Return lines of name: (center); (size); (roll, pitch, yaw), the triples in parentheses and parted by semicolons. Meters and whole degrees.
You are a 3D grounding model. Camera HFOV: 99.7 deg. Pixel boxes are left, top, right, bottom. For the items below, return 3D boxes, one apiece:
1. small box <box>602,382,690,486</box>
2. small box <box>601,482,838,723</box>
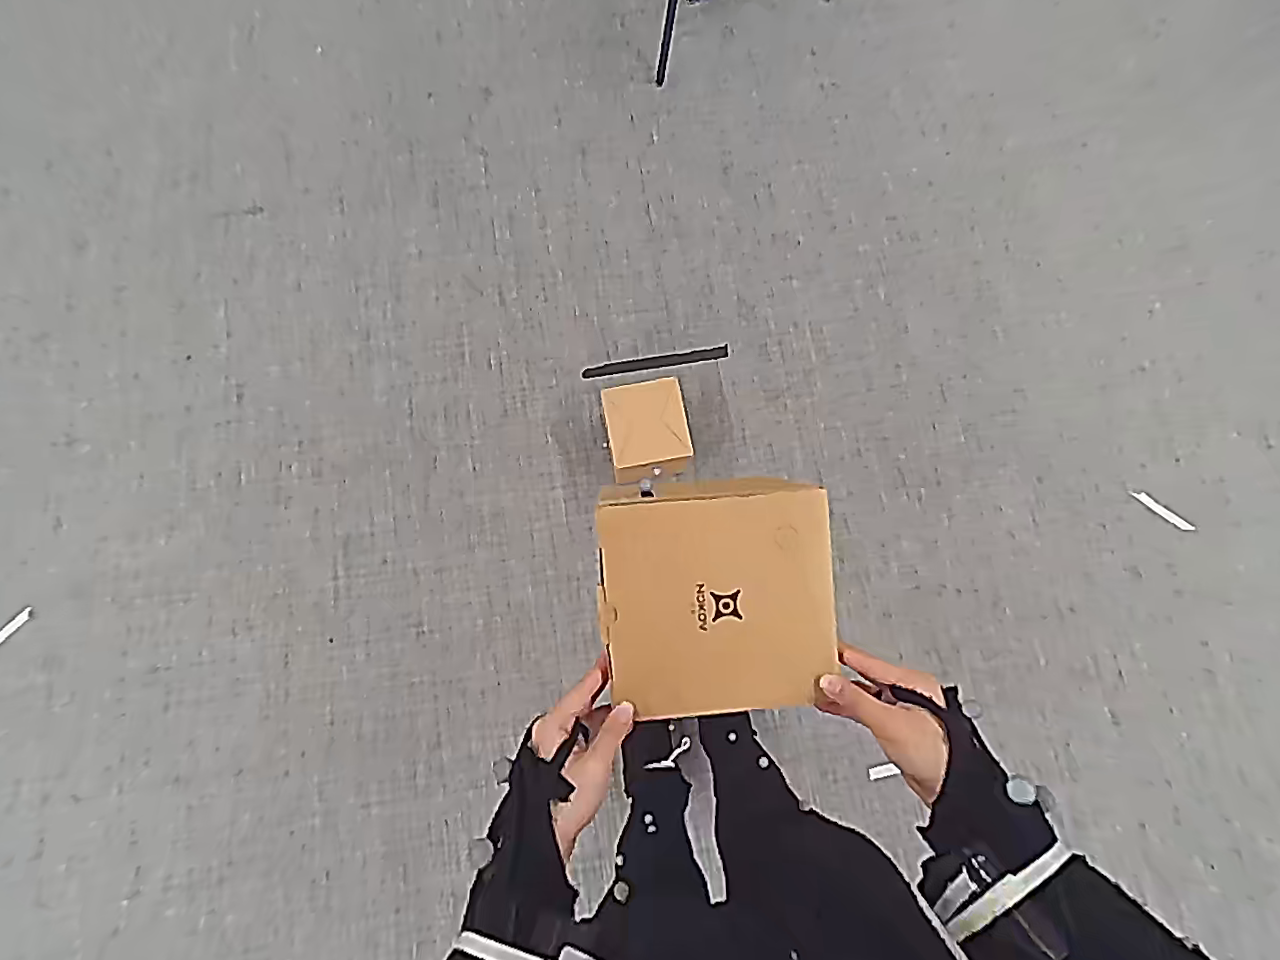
small box: (0.010, -0.100, 1.199); (0.168, 0.176, 0.179); (-10, 79, -4)
small box: (0.058, 0.093, 0.488); (0.179, 0.176, 0.168); (-4, 93, -2)
